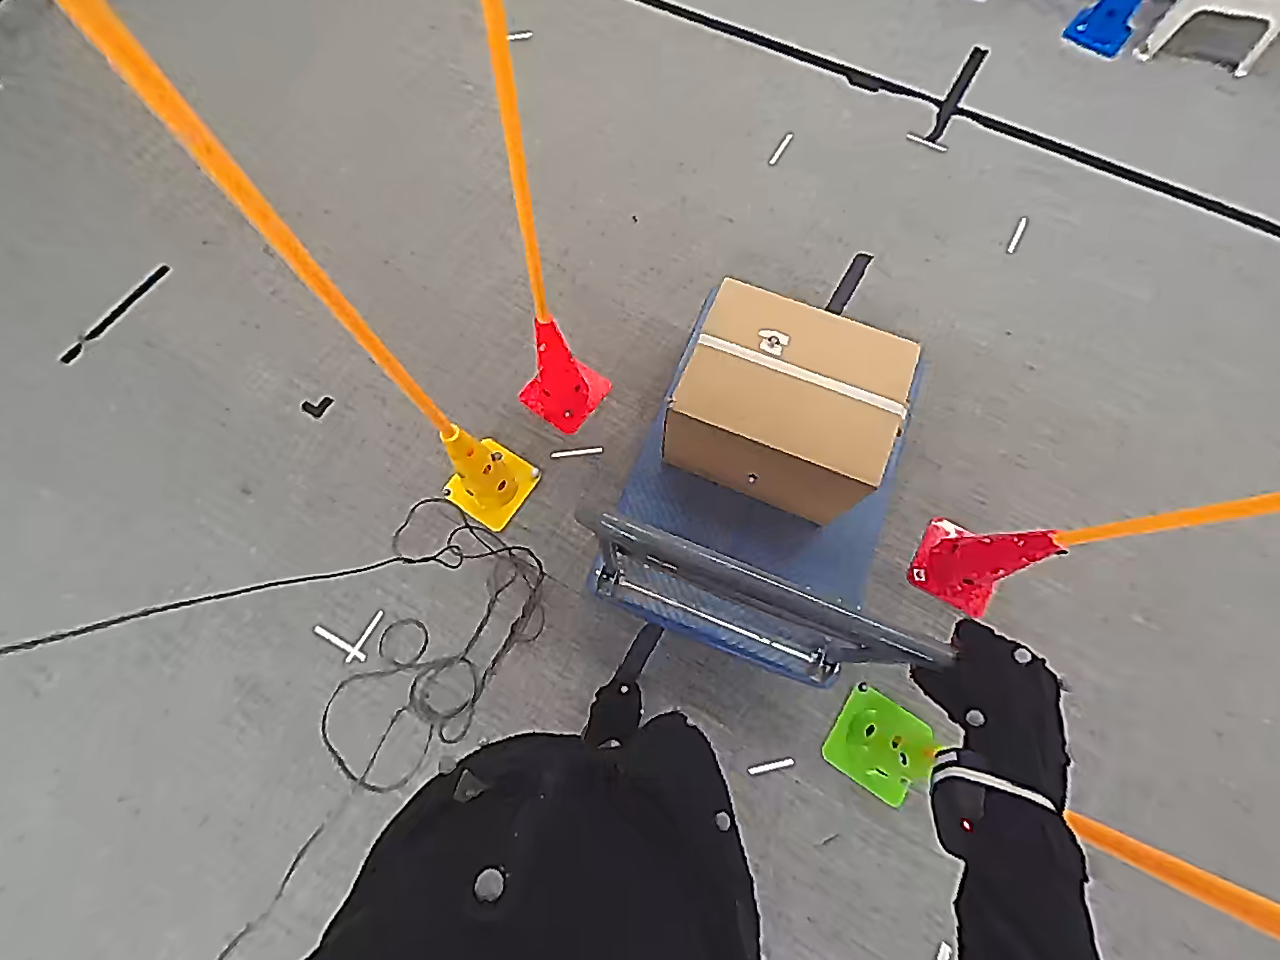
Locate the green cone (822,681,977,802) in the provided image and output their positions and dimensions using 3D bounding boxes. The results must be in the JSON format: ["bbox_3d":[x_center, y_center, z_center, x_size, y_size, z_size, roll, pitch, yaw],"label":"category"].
[{"bbox_3d":[0.547,0.551,1.089,0.202,0.368,0.200,33,75,9],"label":"green cone"}]

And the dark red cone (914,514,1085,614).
[{"bbox_3d":[0.811,0.158,1.199,0.201,0.394,0.202,30,75,7],"label":"dark red cone"}]

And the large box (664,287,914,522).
[{"bbox_3d":[0.294,-0.144,1.168,0.408,0.320,0.320,22,74,8],"label":"large box"}]

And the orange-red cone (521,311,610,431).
[{"bbox_3d":[-0.208,-0.309,1.374,0.198,0.360,0.199,37,74,10],"label":"orange-red cone"}]
